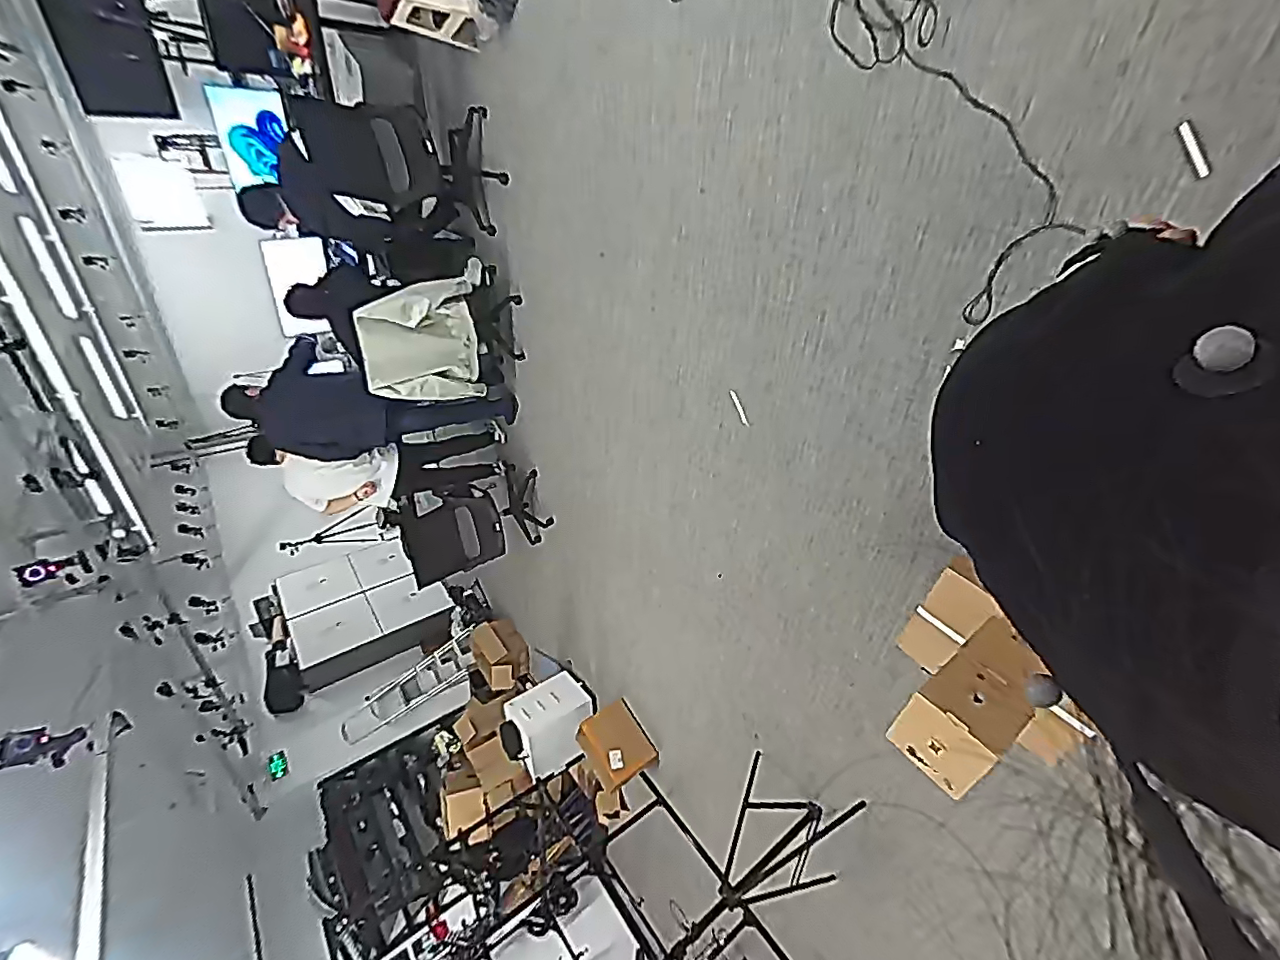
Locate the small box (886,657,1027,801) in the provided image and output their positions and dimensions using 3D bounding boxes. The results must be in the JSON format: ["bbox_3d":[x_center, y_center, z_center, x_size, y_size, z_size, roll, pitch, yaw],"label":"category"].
[{"bbox_3d":[0.646,0.498,1.101,0.168,0.176,0.179,41,137,37],"label":"small box"}]
